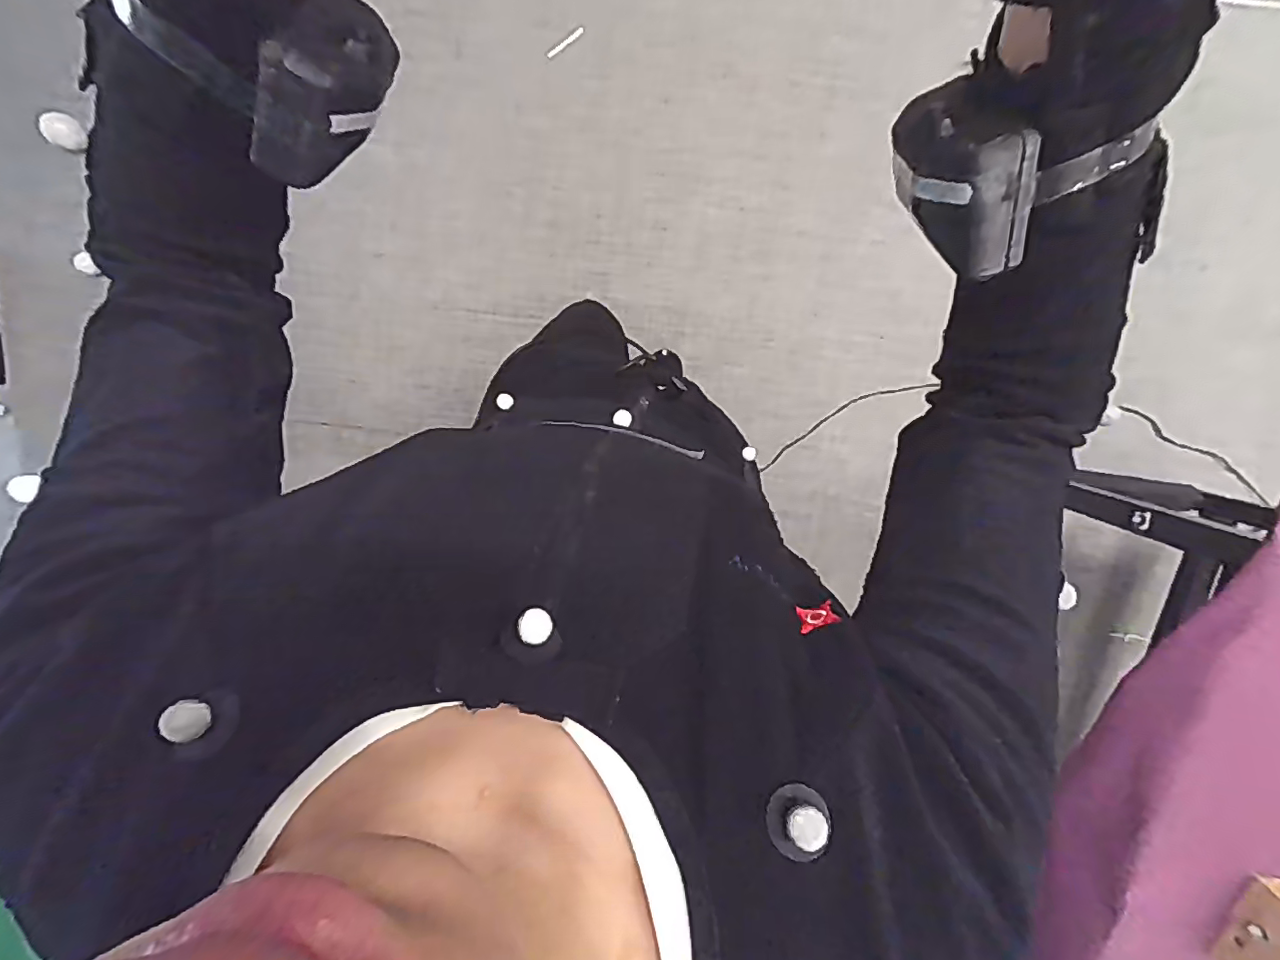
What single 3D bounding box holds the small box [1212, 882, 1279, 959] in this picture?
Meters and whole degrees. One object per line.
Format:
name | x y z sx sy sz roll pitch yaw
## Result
small box | 0.984 0.706 0.749 0.179 0.176 0.168 12 101 0
